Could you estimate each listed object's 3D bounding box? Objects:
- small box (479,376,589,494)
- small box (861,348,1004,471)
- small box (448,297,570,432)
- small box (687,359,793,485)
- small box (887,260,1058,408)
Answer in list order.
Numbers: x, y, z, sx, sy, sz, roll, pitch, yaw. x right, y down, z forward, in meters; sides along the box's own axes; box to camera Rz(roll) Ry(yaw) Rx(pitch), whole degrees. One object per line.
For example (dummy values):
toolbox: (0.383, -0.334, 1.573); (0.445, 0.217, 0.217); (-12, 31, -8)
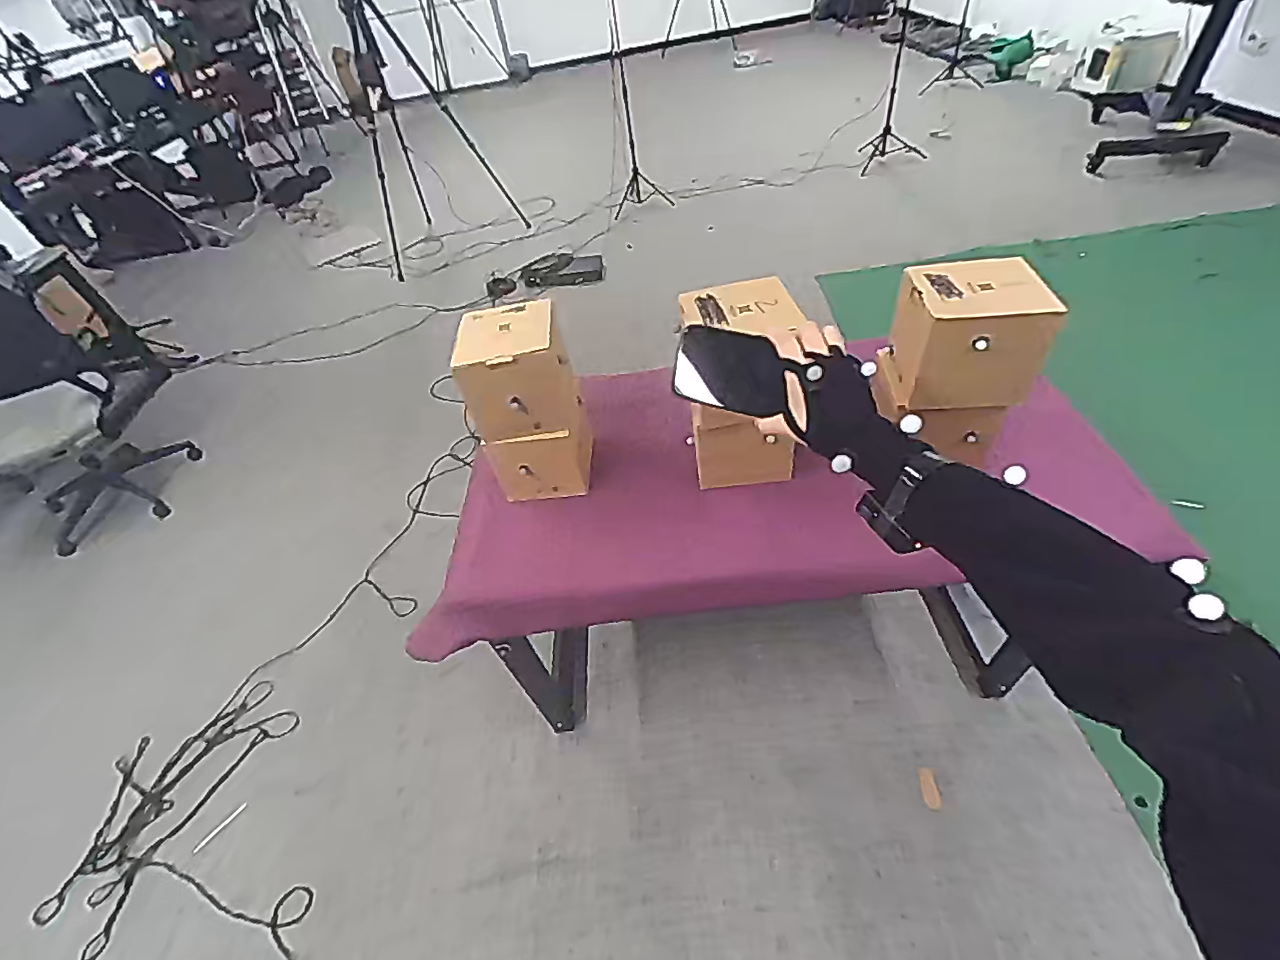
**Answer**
small box: (-0.201, -0.084, 1.089); (0.168, 0.176, 0.179); (-5, 47, 6)
small box: (0.522, -0.128, 0.994); (0.179, 0.176, 0.168); (-1, 47, 10)
small box: (-0.224, -0.201, 0.976); (0.168, 0.176, 0.179); (-8, 47, 2)
small box: (0.185, -0.107, 1.036); (0.179, 0.176, 0.168); (-6, 47, 6)
small box: (0.509, -0.229, 0.864); (0.179, 0.176, 0.168); (-1, 47, 9)
